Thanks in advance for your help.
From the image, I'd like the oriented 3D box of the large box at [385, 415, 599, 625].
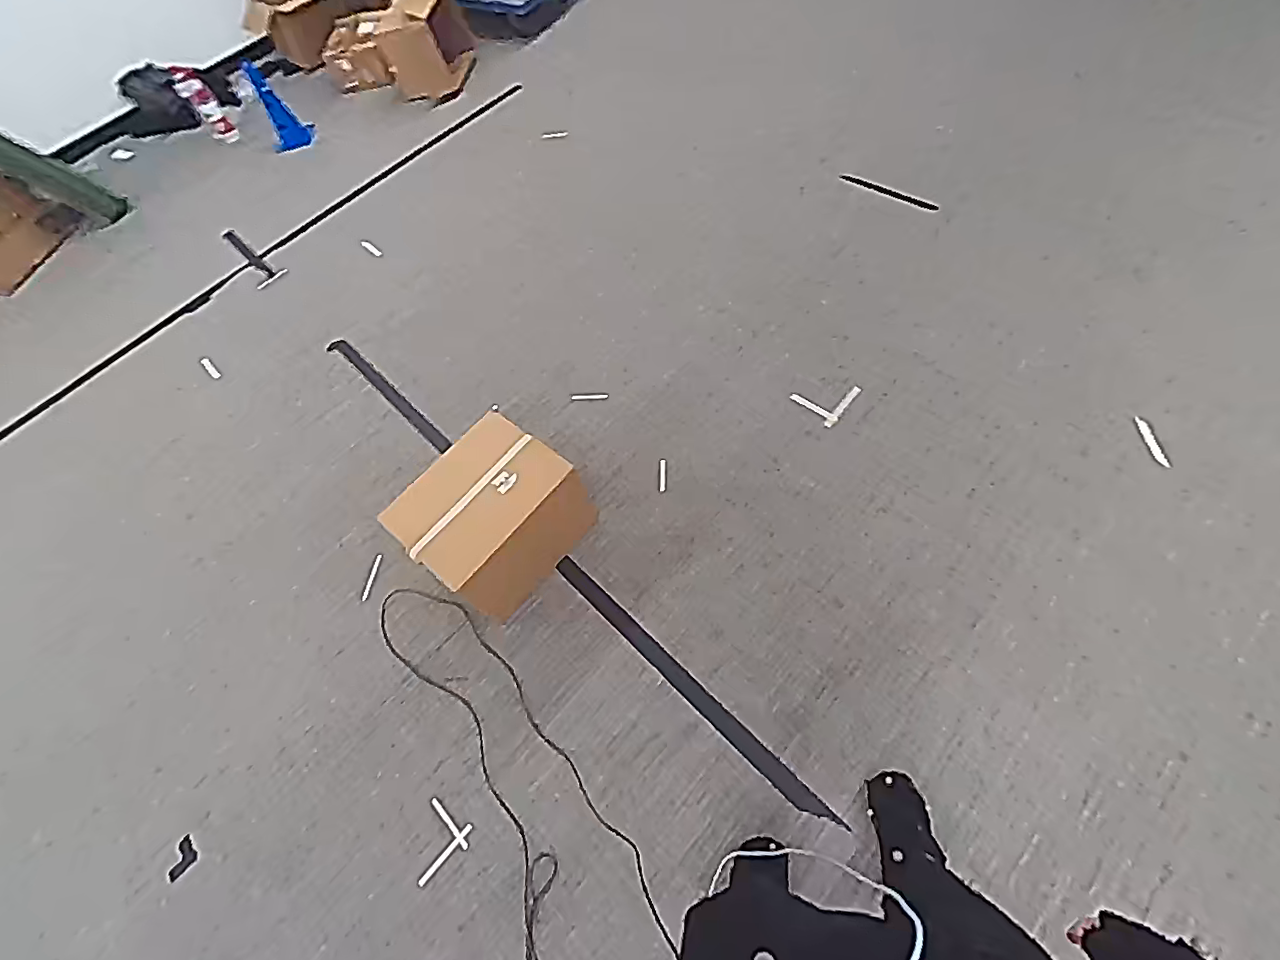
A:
[{"bbox_3d":[-0.376,0.112,1.462,0.320,0.320,0.408,34,71,23],"label":"large box"}]
